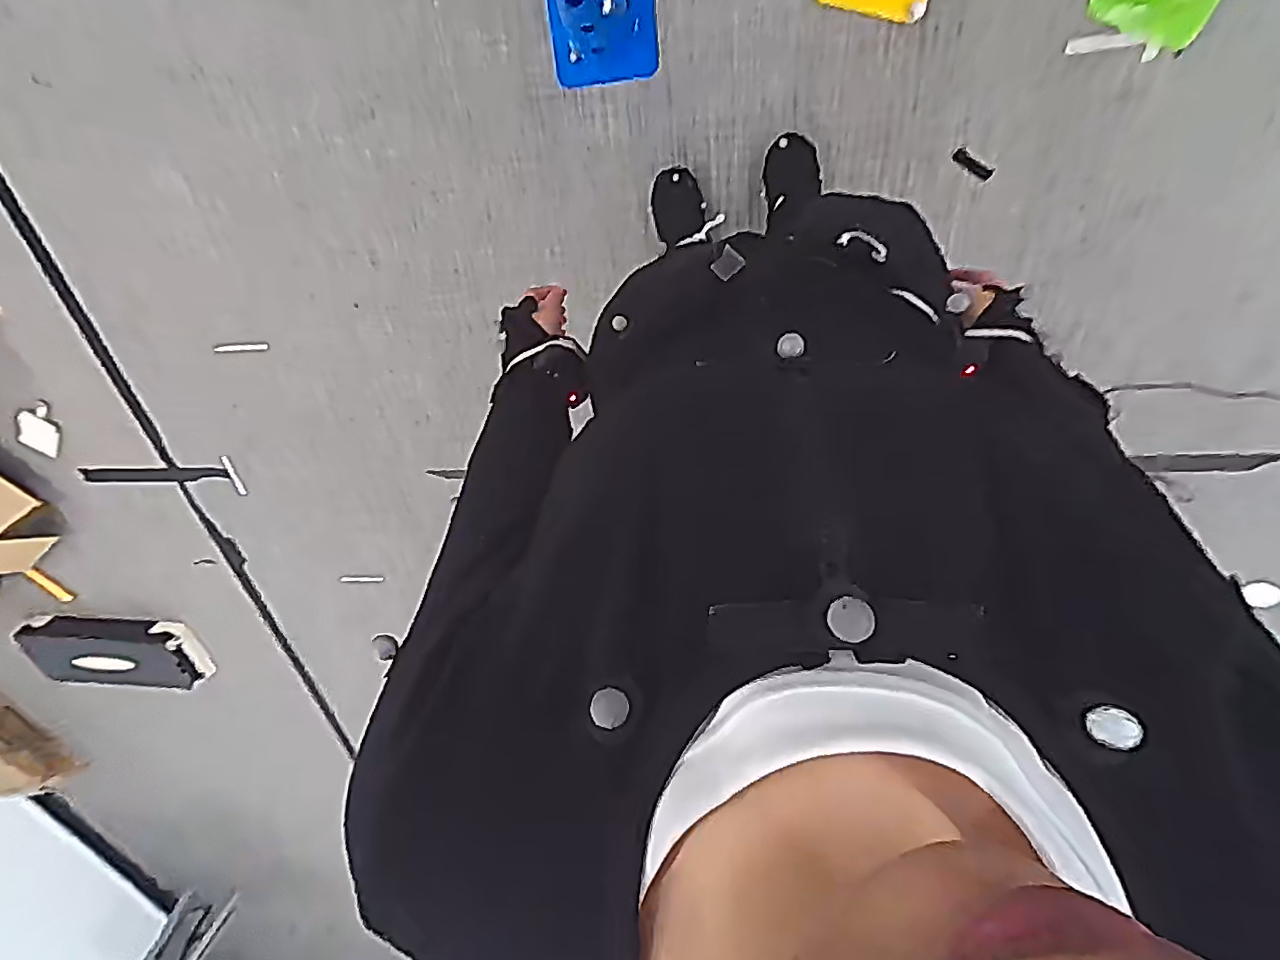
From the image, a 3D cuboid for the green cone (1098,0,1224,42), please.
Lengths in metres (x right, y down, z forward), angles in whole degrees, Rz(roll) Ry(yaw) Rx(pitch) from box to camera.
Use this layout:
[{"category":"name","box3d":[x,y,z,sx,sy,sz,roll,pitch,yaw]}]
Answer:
[{"category":"green cone","box3d":[0.874,-0.769,0.735,0.200,0.368,0.202,17,123,-3]}]
